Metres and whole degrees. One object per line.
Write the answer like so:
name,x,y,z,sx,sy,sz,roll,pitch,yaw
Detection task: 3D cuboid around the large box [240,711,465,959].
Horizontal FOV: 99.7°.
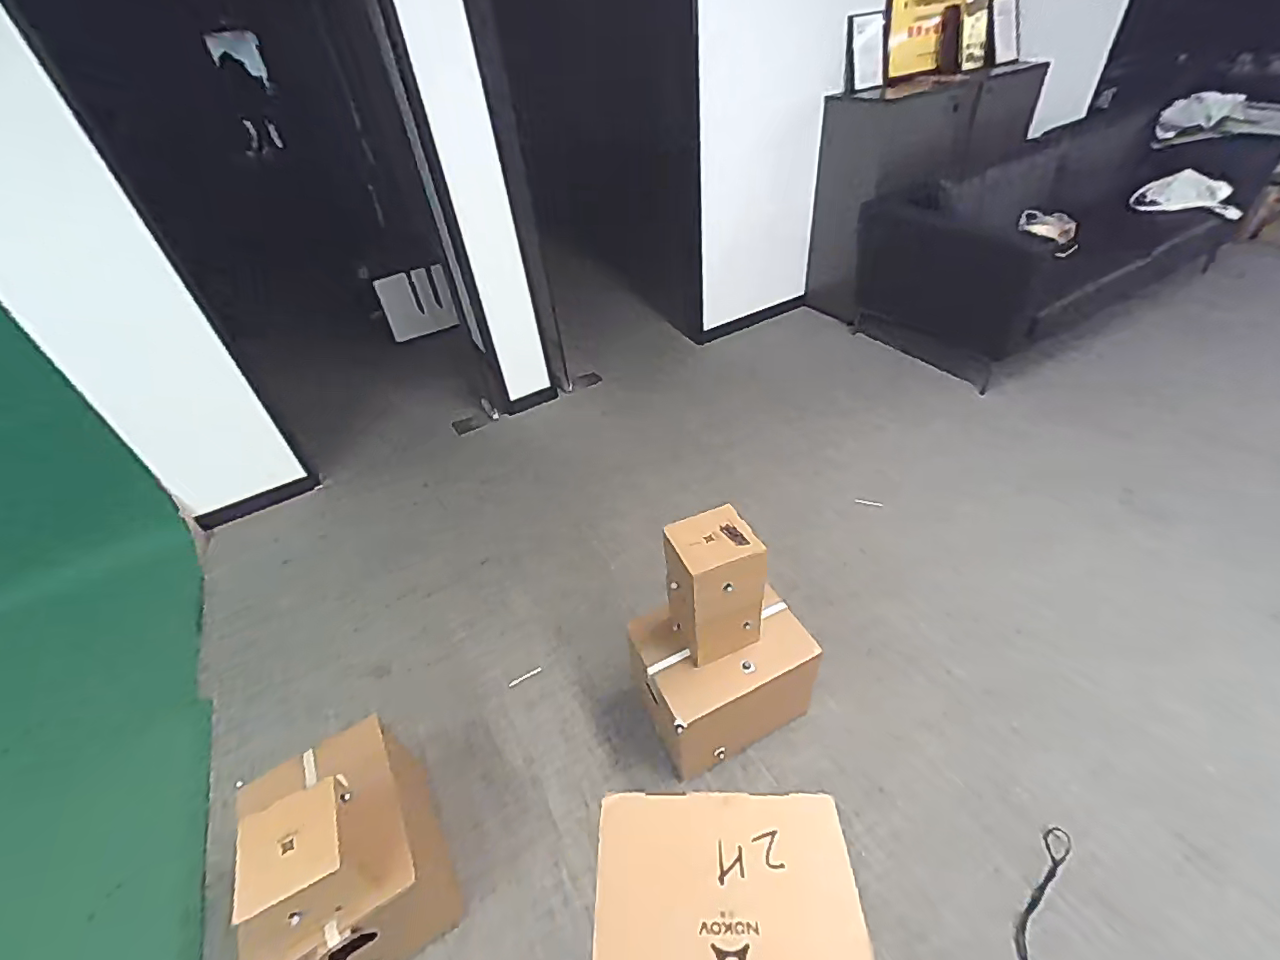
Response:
large box,-0.642,0.831,1.219,0.320,0.320,0.408,-25,43,-20

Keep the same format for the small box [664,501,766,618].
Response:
small box,0.167,0.181,1.228,0.179,0.176,0.168,-18,40,-12

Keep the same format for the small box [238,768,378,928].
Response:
small box,-0.608,0.687,1.004,0.168,0.176,0.179,-22,42,-18

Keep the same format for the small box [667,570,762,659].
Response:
small box,0.180,0.306,1.335,0.179,0.176,0.168,-19,40,-13

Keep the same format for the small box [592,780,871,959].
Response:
small box,0.054,0.334,0.374,0.168,0.176,0.179,1,40,1
